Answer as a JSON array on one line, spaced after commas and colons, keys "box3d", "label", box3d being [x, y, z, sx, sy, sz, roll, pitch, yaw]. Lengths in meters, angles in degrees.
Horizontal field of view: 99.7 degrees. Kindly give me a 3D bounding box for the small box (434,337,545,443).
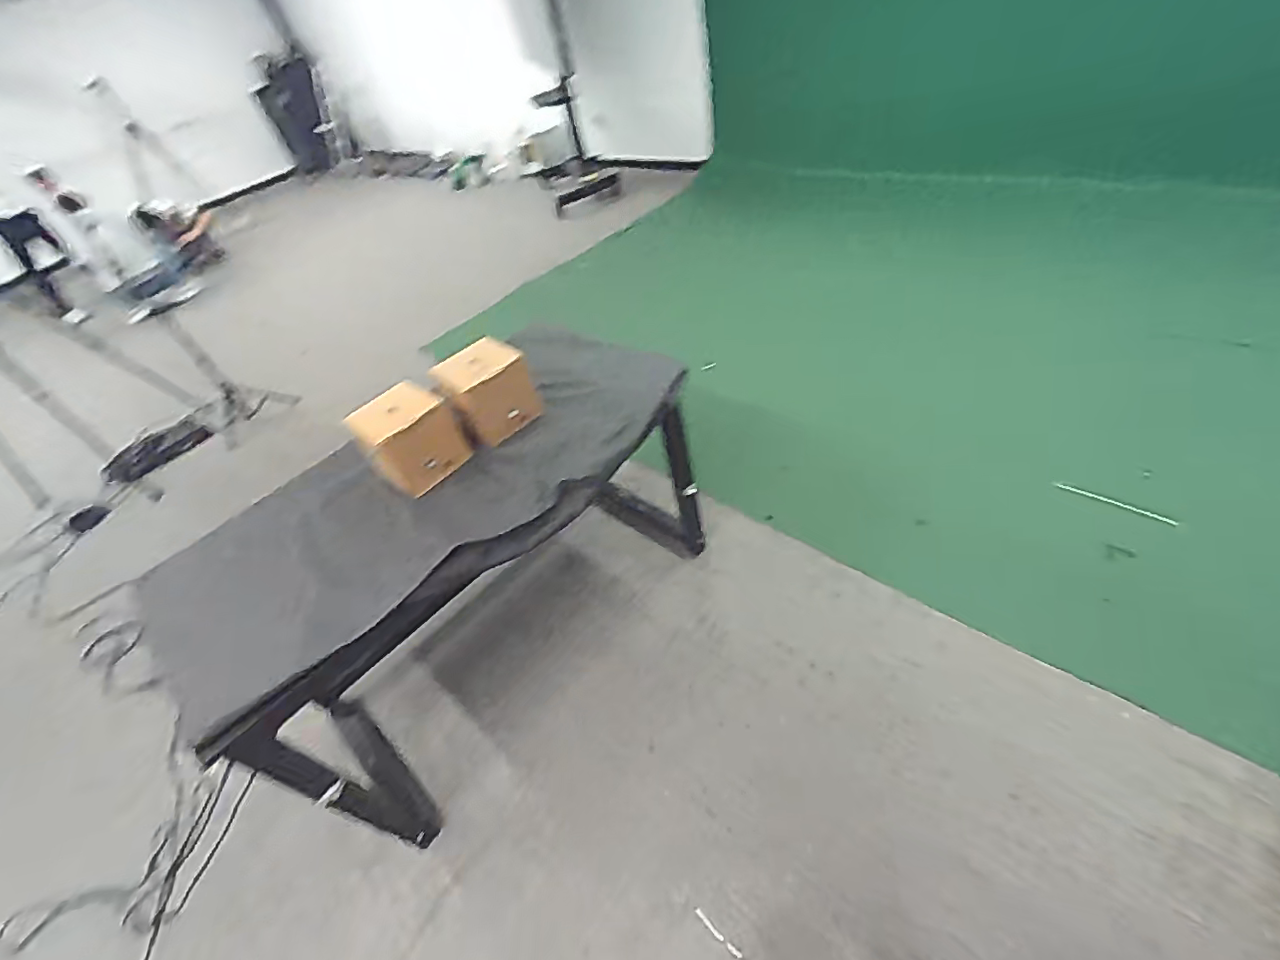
[{"box3d": [-0.361, -0.217, 1.316, 0.168, 0.176, 0.179, -40, 49, -23], "label": "small box"}]
